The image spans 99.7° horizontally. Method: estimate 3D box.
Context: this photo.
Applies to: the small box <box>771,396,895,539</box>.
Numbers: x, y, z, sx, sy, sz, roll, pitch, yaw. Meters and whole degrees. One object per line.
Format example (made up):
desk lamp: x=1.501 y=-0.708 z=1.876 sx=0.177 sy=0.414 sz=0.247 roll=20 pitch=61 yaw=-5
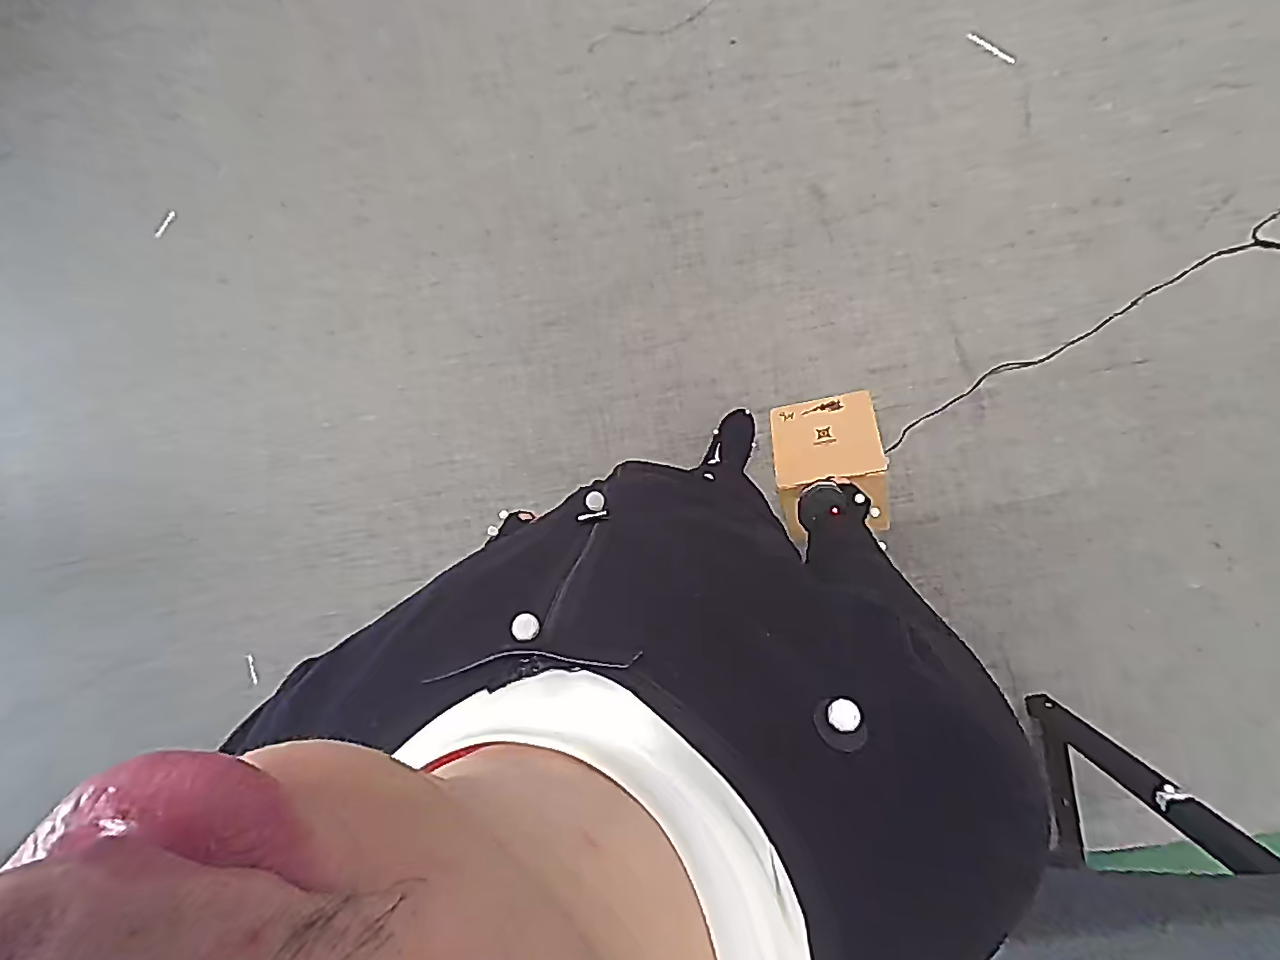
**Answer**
small box: x=0.334 y=-0.011 z=0.940 sx=0.168 sy=0.176 sz=0.179 roll=-13 pitch=49 yaw=20
